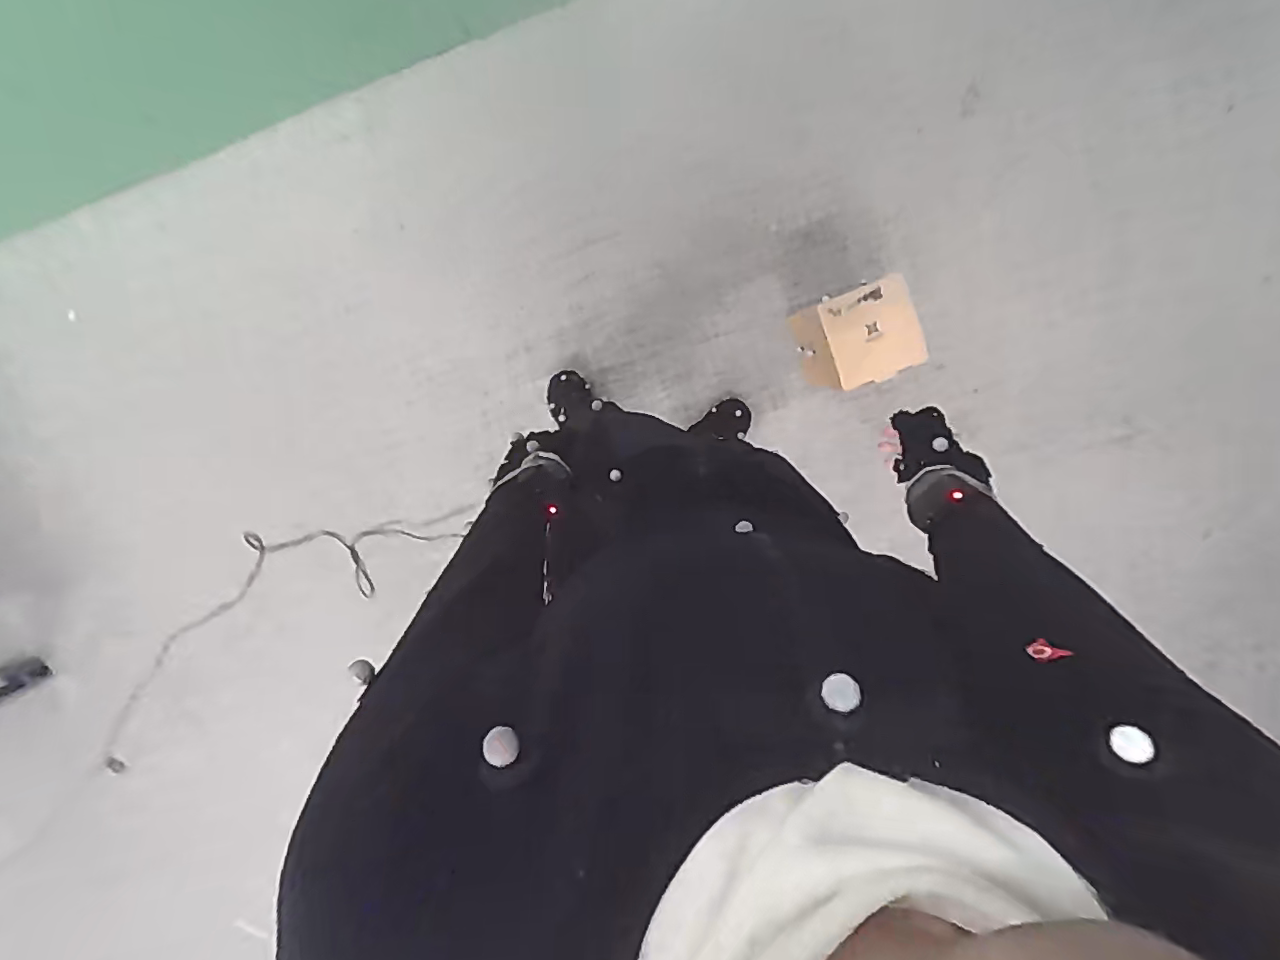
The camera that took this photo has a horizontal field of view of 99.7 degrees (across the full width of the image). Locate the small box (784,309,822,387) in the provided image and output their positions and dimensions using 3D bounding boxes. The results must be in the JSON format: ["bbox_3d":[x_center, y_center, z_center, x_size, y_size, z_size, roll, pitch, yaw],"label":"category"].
[{"bbox_3d":[0.447,-0.328,1.257,0.168,0.176,0.179,-17,99,7],"label":"small box"}]

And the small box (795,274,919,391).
[{"bbox_3d":[0.432,-0.294,1.098,0.168,0.176,0.179,-19,100,8],"label":"small box"}]
